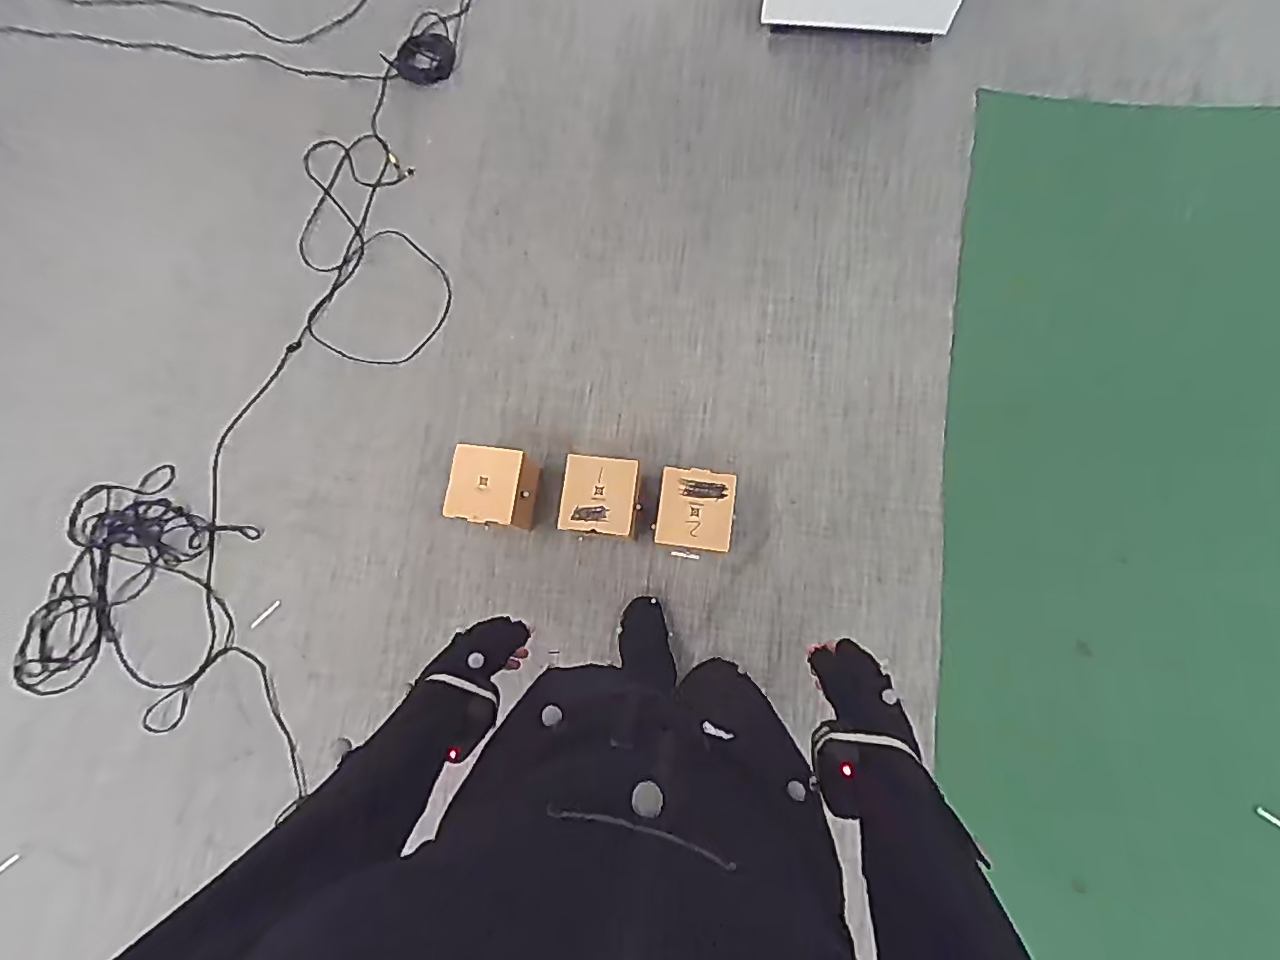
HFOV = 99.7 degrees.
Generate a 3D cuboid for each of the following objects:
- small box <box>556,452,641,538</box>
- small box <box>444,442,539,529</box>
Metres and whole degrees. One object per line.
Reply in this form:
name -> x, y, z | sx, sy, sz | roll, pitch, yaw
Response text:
small box -> -0.092, 0.043, 1.303 | 0.168, 0.176, 0.179 | 6, 79, 7
small box -> -0.356, 0.018, 1.333 | 0.168, 0.176, 0.179 | 7, 80, 6
